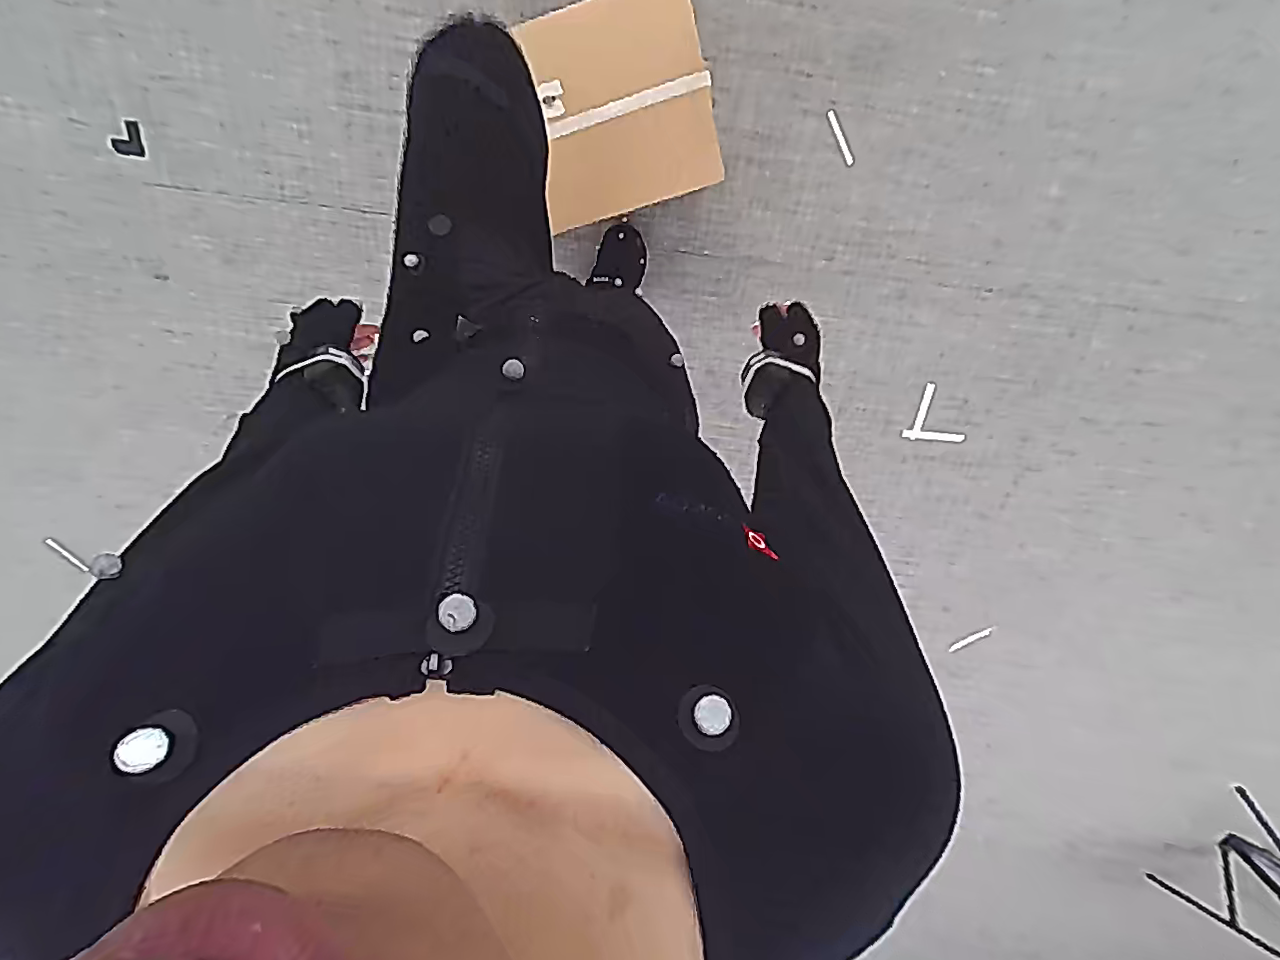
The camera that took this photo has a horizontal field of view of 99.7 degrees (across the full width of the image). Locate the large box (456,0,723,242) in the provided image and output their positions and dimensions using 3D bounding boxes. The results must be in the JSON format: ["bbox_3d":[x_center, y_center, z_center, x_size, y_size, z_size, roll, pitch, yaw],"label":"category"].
[{"bbox_3d":[-0.078,-0.706,1.075,0.408,0.320,0.320,-14,116,8],"label":"large box"}]
